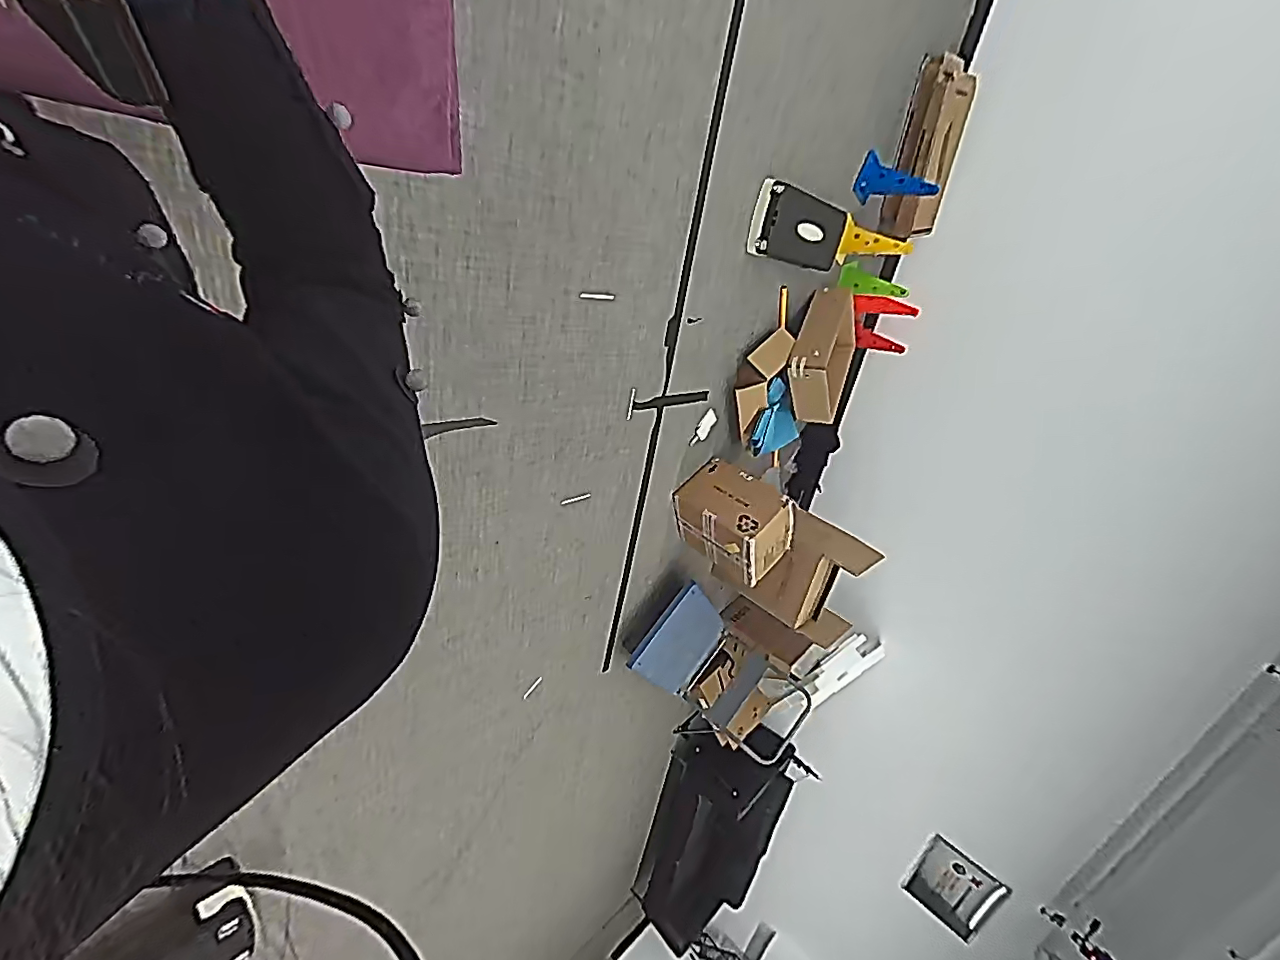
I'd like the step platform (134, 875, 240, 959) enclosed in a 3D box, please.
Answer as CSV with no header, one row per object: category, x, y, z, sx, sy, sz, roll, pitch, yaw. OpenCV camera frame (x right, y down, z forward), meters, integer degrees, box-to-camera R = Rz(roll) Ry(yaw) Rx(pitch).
step platform,-1.514,1.450,1.471,0.684,0.204,0.286,-18,128,-46
